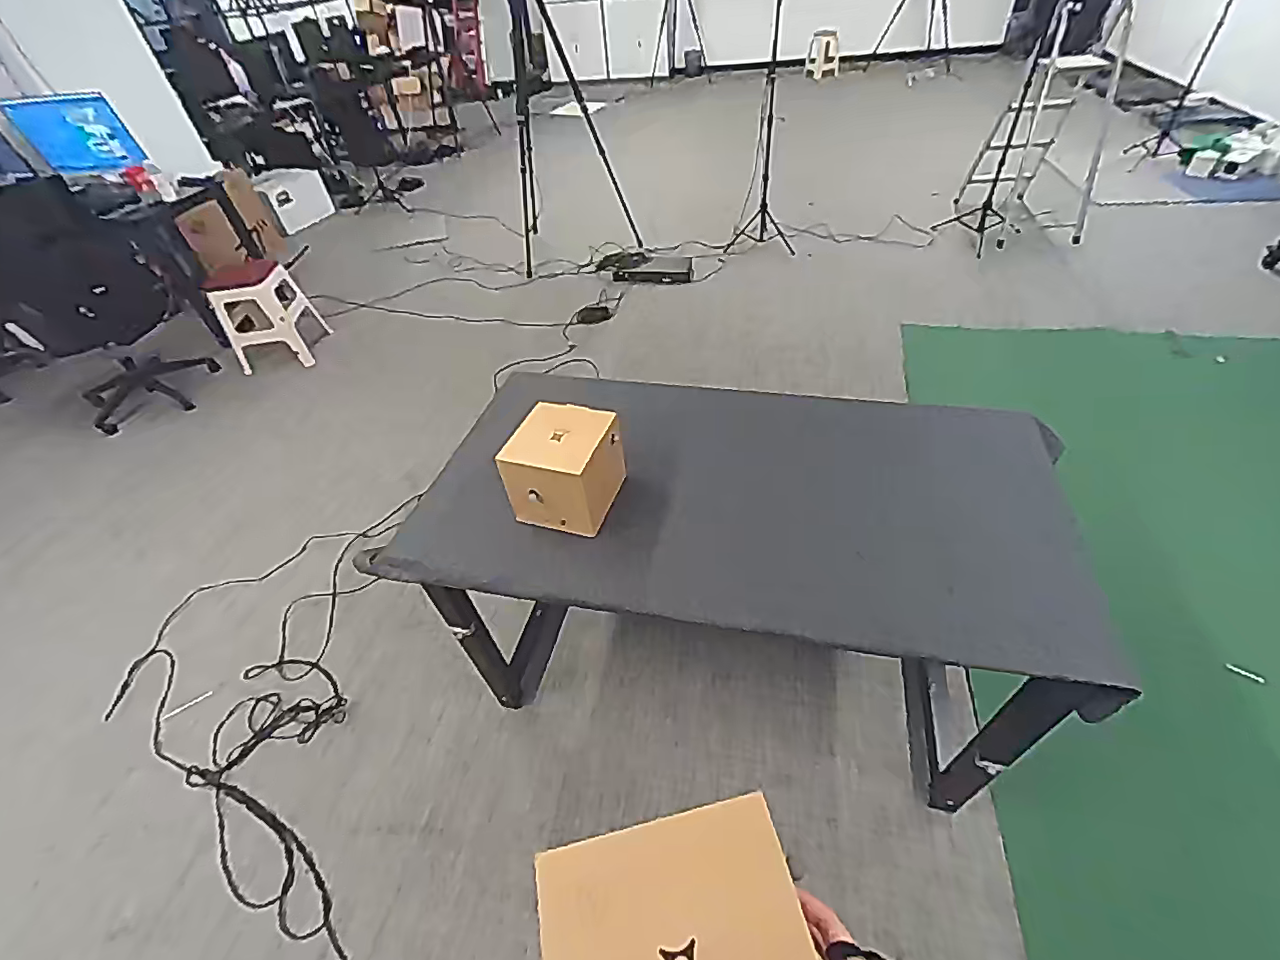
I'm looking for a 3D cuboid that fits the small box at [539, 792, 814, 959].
[{"bbox_3d":[0.032,0.355,0.384,0.168,0.176,0.179,-13,48,-3],"label":"small box"}]

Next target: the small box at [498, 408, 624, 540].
[{"bbox_3d":[-0.137,-0.011,1.024,0.168,0.176,0.179,10,45,17],"label":"small box"}]
